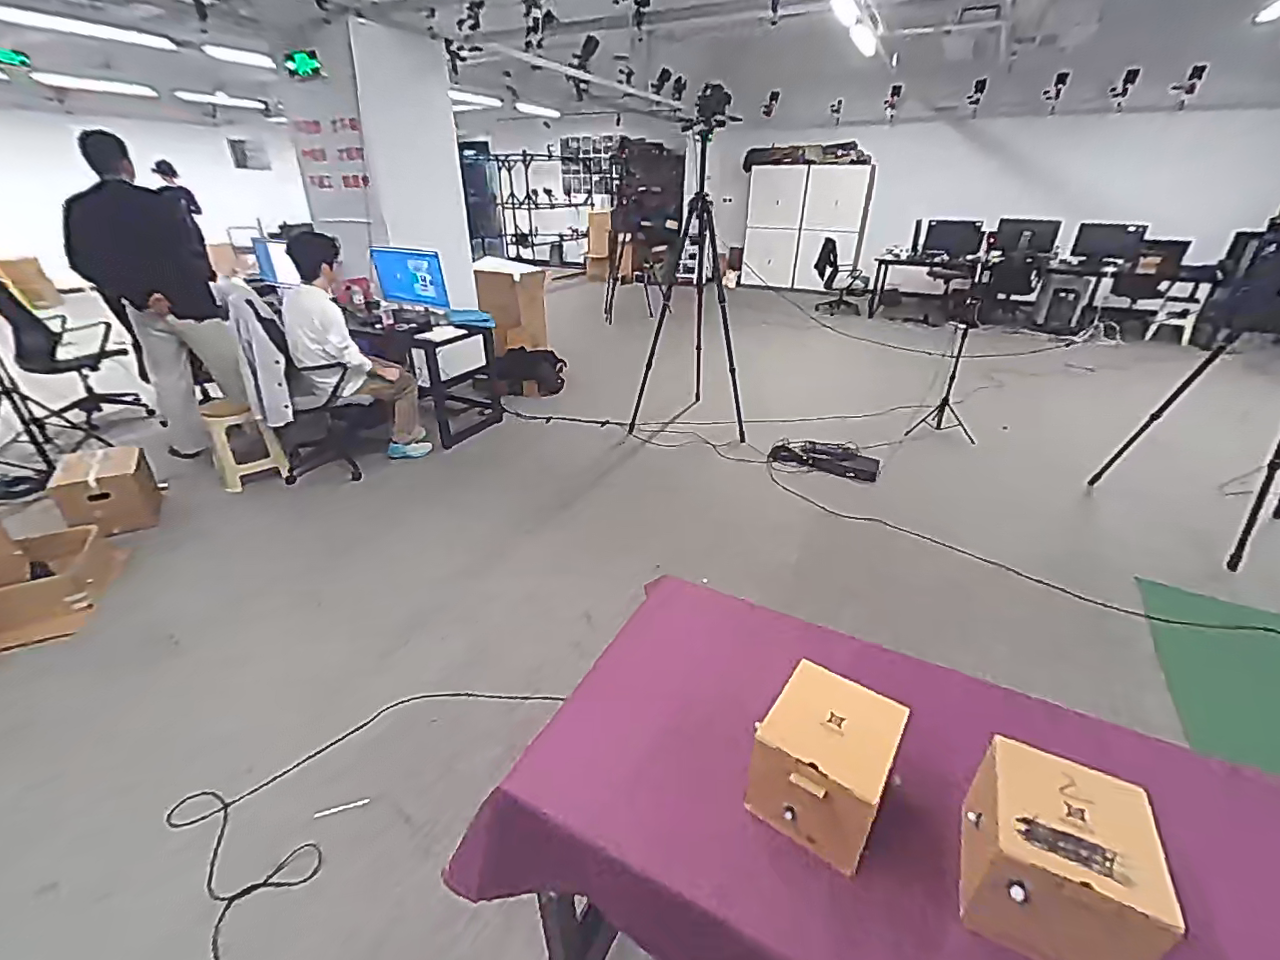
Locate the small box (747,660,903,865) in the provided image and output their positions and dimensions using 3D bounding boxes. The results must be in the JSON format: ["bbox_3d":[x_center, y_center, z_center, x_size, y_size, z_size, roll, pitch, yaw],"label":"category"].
[{"bbox_3d":[0.273,0.420,0.819,0.168,0.176,0.179,20,35,31],"label":"small box"}]
